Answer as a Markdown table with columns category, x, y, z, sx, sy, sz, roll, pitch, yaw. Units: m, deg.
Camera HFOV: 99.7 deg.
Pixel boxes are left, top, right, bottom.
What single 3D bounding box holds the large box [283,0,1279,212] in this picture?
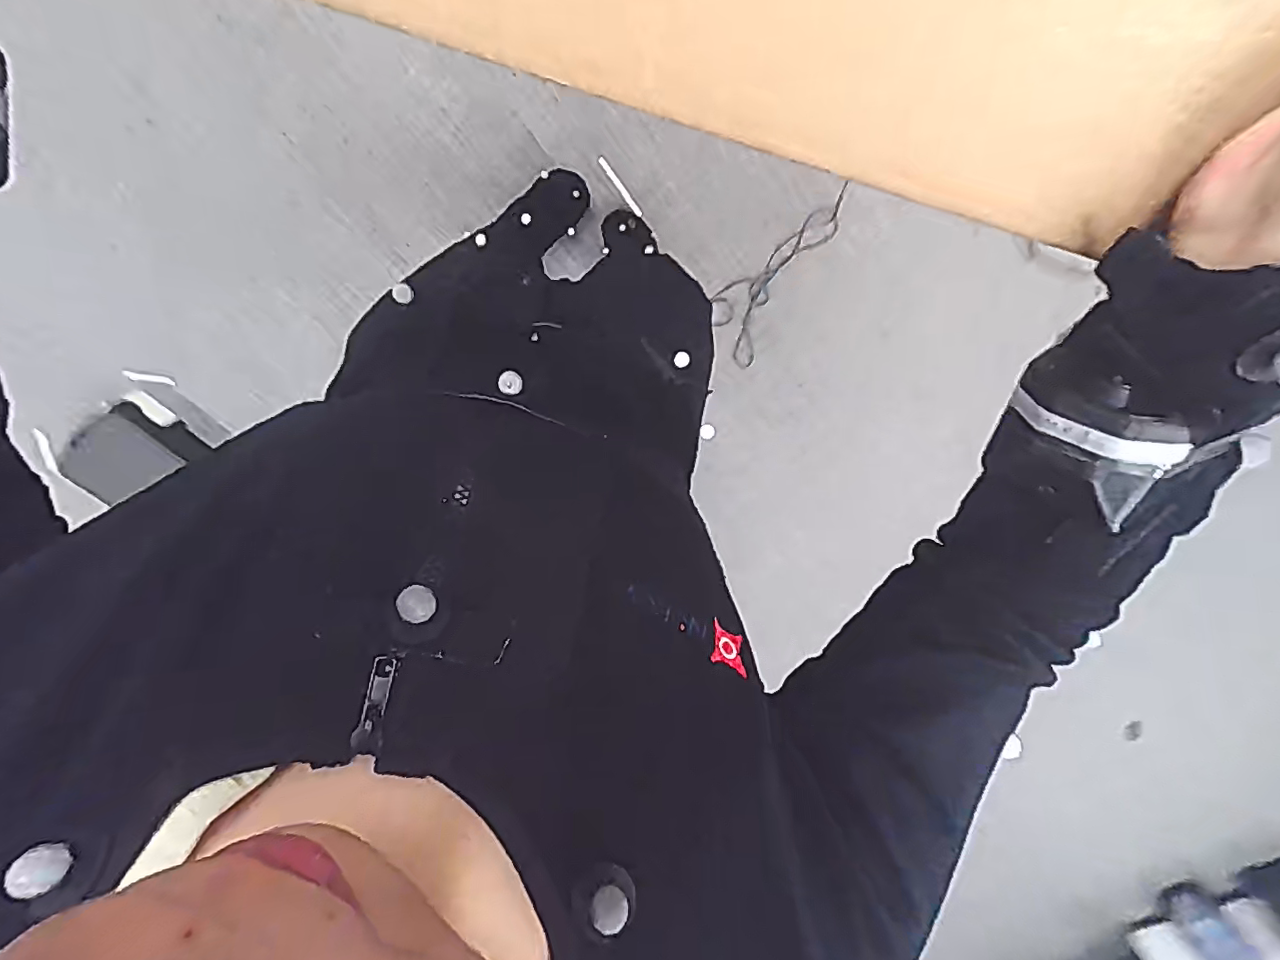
| category | x | y | z | sx | sy | sz | roll | pitch | yaw |
| --- | --- | --- | --- | --- | --- | --- | --- | --- | --- |
| large box | 0.041 | -0.344 | 0.148 | 0.408 | 0.320 | 0.320 | 11 | 149 | -6 |
